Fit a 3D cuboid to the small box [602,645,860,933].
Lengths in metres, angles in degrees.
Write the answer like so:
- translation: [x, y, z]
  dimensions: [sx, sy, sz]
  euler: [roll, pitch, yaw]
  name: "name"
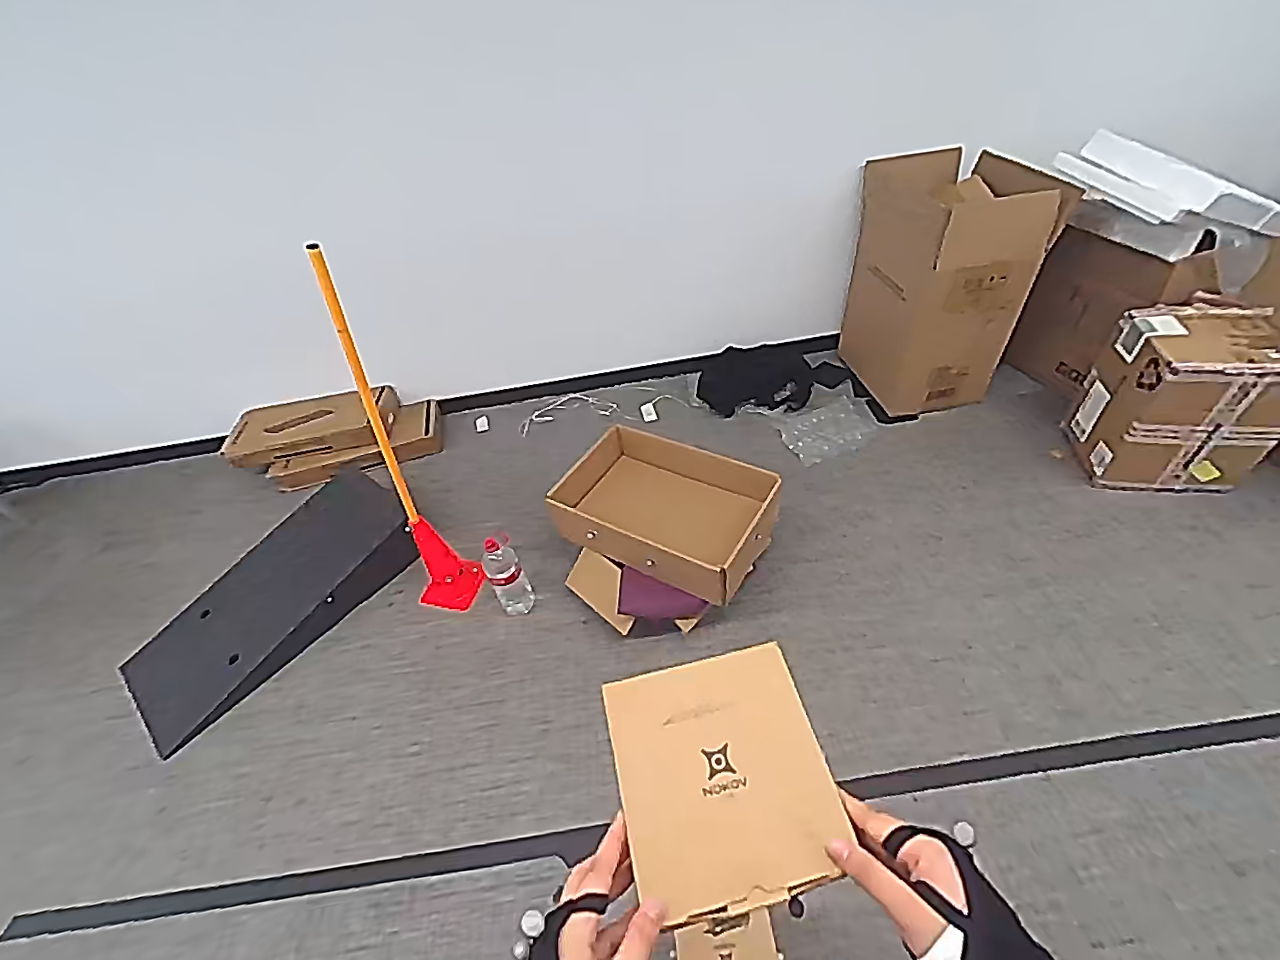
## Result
- translation: [0.068, 0.281, 0.493]
  dimensions: [0.168, 0.176, 0.179]
  euler: [-12, 50, -6]
  name: "small box"
